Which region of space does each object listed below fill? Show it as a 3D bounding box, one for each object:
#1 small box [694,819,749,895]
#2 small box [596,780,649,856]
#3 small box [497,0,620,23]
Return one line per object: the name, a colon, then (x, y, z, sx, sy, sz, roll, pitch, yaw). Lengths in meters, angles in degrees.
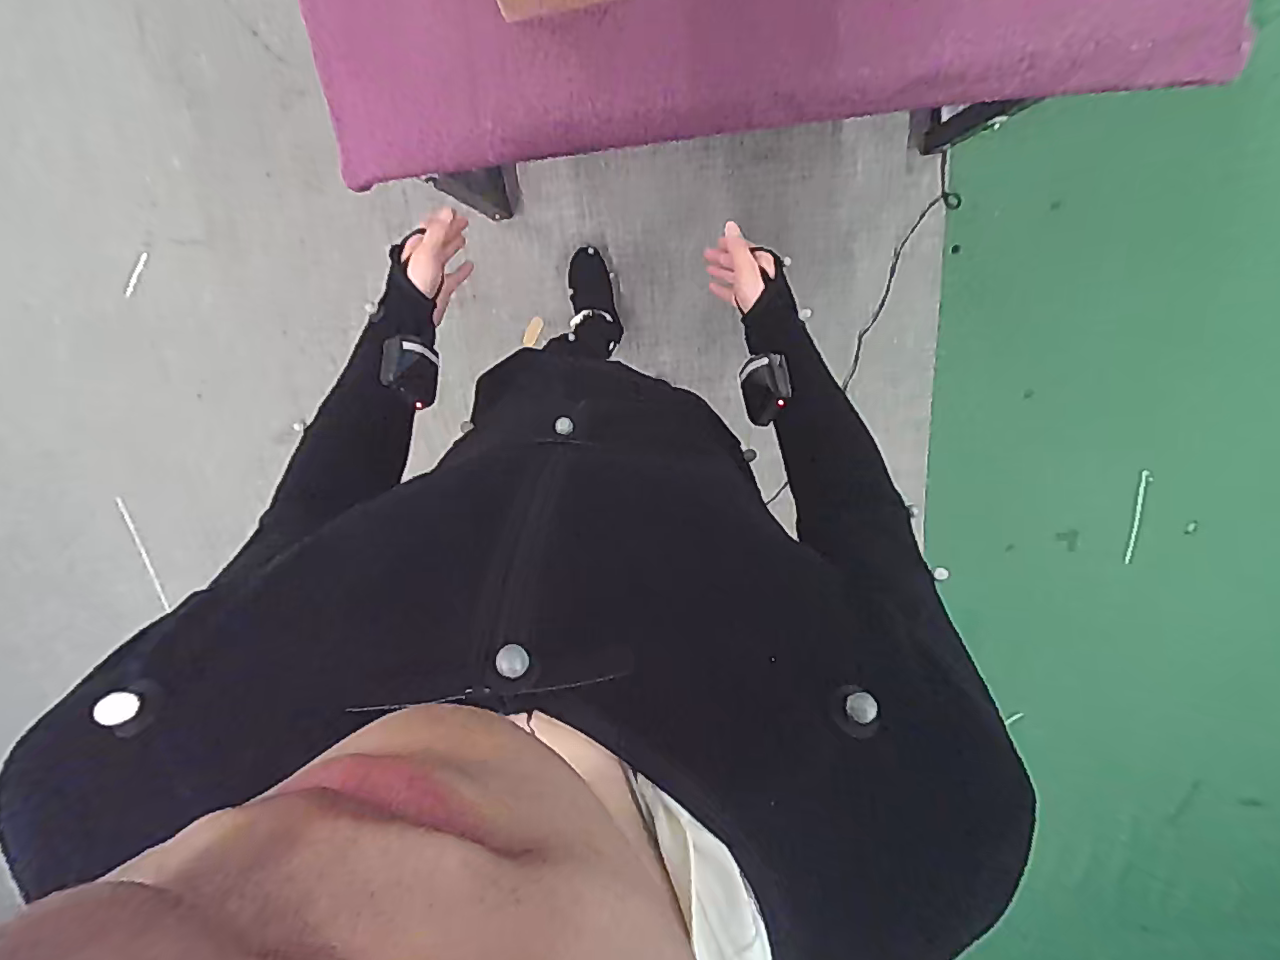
small box: (0.296, 1.393, 2.003, 0.179, 0.176, 0.168, 3, 108, -1)
small box: (-0.063, 1.214, 1.950, 0.179, 0.176, 0.168, -4, 107, 1)
small box: (-0.101, -0.662, 0.609, 0.179, 0.176, 0.168, -8, 108, 3)
